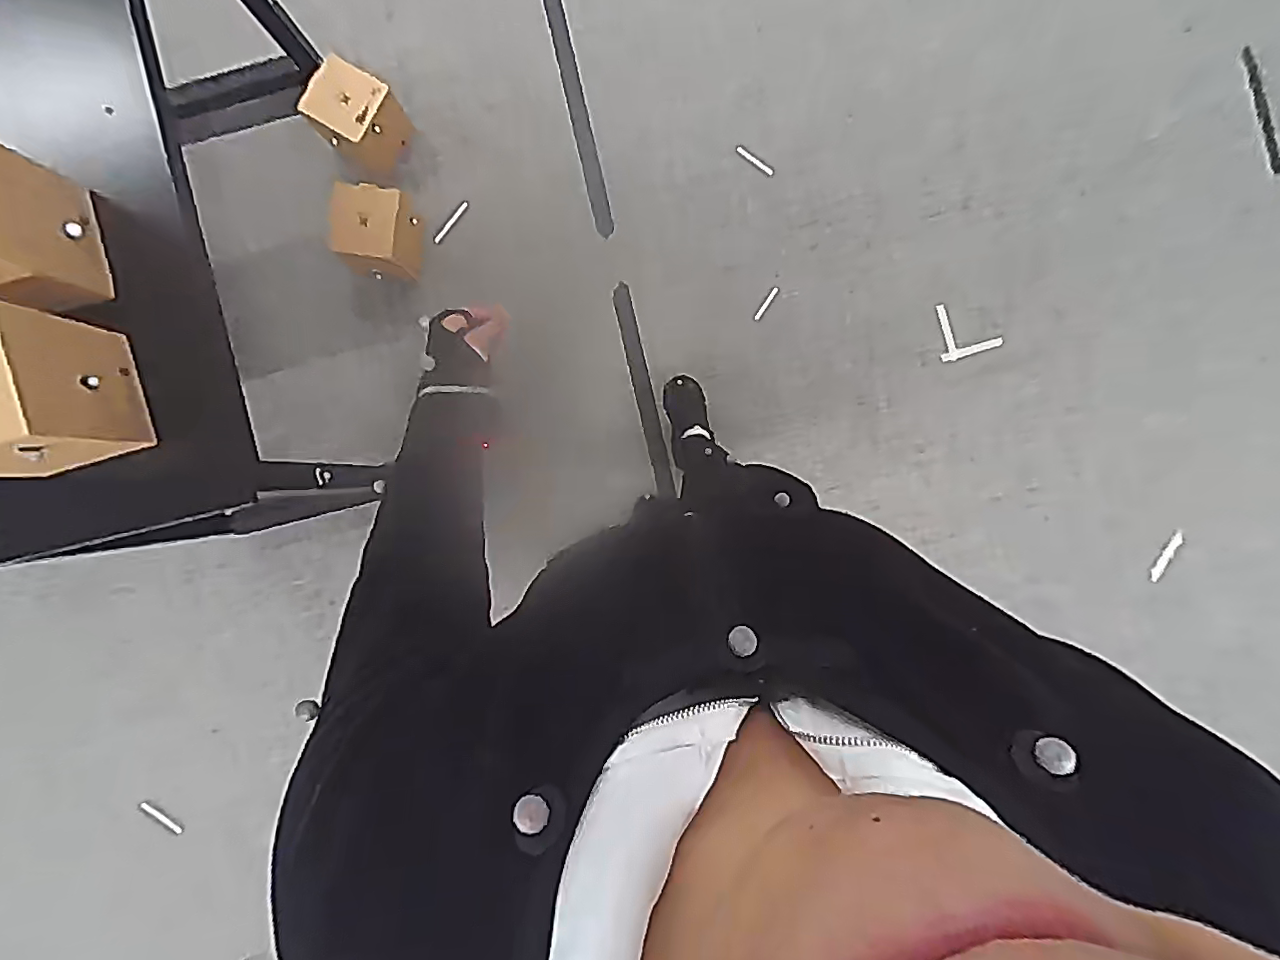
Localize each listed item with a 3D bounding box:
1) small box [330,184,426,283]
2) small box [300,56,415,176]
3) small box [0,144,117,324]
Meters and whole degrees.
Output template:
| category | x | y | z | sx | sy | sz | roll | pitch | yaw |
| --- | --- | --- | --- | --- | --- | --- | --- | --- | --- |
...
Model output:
| category | x | y | z | sx | sy | sz | roll | pitch | yaw |
| --- | --- | --- | --- | --- | --- | --- | --- | --- | --- |
| small box | -0.681 | -0.644 | 1.427 | 0.168 | 0.176 | 0.179 | 7 | 92 | 1 |
| small box | -0.732 | -0.943 | 1.420 | 0.179 | 0.176 | 0.168 | 30 | 91 | 0 |
| small box | -0.855 | -0.317 | 0.702 | 0.179 | 0.176 | 0.168 | -14 | 91 | 0 |
